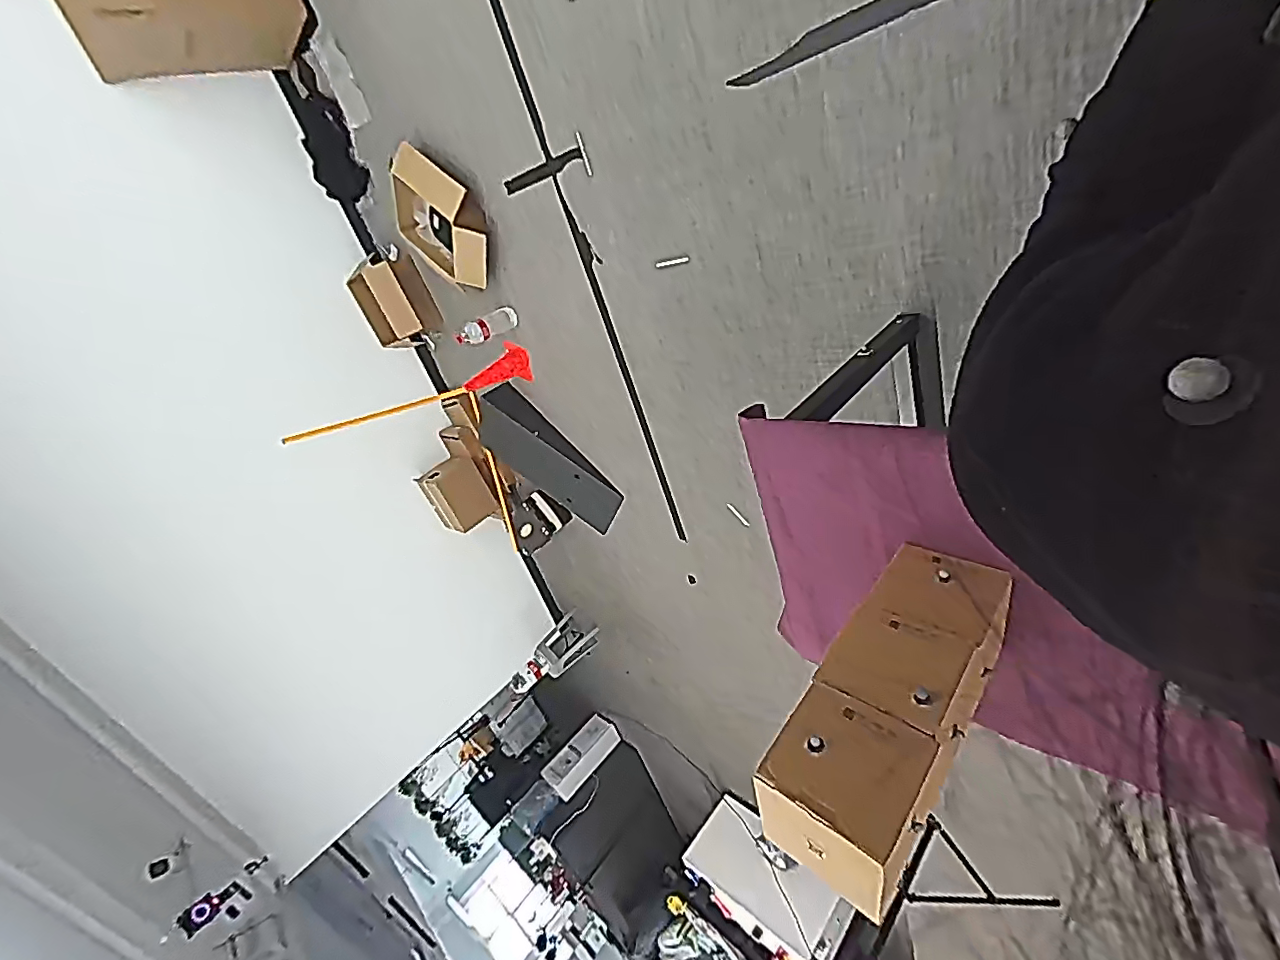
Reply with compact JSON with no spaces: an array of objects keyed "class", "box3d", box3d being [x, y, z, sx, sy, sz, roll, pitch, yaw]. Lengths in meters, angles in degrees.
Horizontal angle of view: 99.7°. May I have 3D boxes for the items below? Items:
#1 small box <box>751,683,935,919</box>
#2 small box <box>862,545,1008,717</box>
[{"class":"small box","box3d":[0.268,0.406,0.709,0.168,0.176,0.179,19,137,42]},{"class":"small box","box3d":[0.483,0.239,0.890,0.168,0.176,0.179,16,133,41]}]
